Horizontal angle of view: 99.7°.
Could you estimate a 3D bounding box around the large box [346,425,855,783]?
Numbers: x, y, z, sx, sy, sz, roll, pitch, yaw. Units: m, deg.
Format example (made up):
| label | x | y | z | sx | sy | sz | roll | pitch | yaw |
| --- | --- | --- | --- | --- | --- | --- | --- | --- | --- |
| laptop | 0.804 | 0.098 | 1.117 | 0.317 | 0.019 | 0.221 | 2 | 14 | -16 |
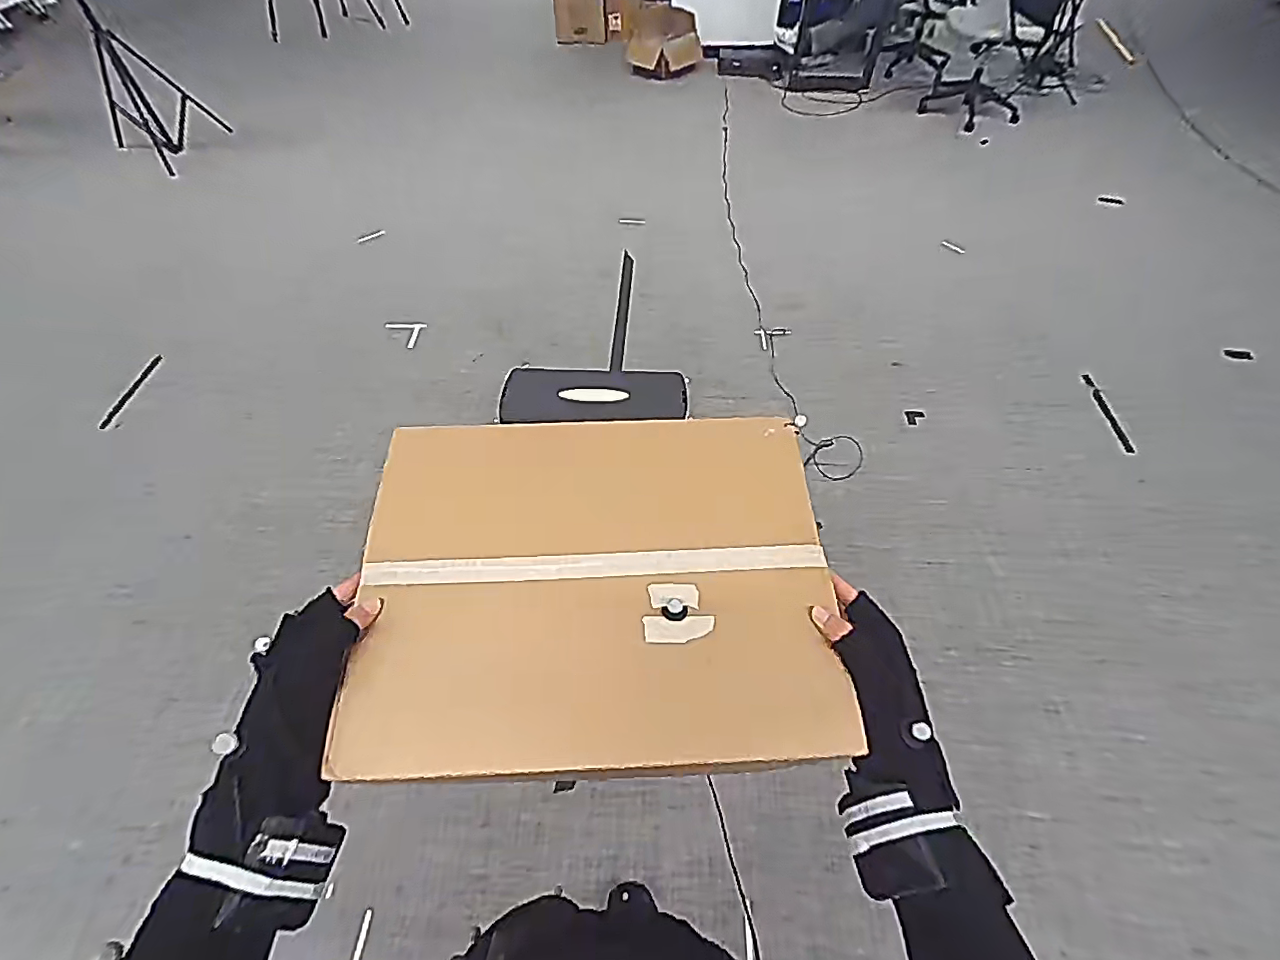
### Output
| label | x | y | z | sx | sy | sz | roll | pitch | yaw |
| --- | --- | --- | --- | --- | --- | --- | --- | --- | --- |
| large box | -0.038 | 0.155 | 0.619 | 0.408 | 0.320 | 0.320 | -1 | 60 | -2 |
